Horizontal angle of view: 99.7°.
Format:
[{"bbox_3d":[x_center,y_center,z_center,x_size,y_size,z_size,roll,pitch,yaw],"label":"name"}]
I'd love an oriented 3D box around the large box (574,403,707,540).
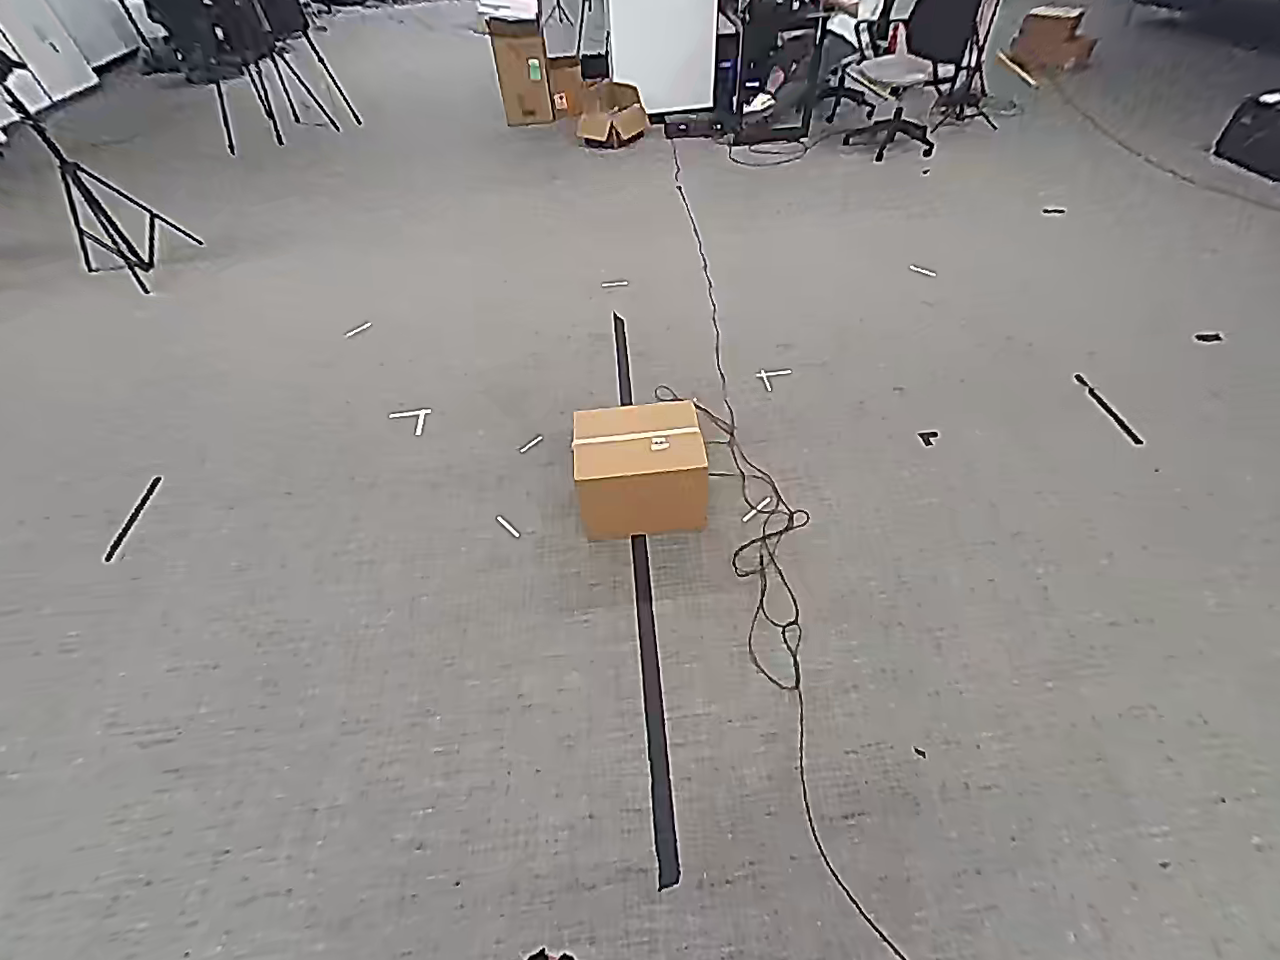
[{"bbox_3d":[-0.004,-0.026,1.819,0.408,0.320,0.320,-6,48,-1],"label":"large box"}]
